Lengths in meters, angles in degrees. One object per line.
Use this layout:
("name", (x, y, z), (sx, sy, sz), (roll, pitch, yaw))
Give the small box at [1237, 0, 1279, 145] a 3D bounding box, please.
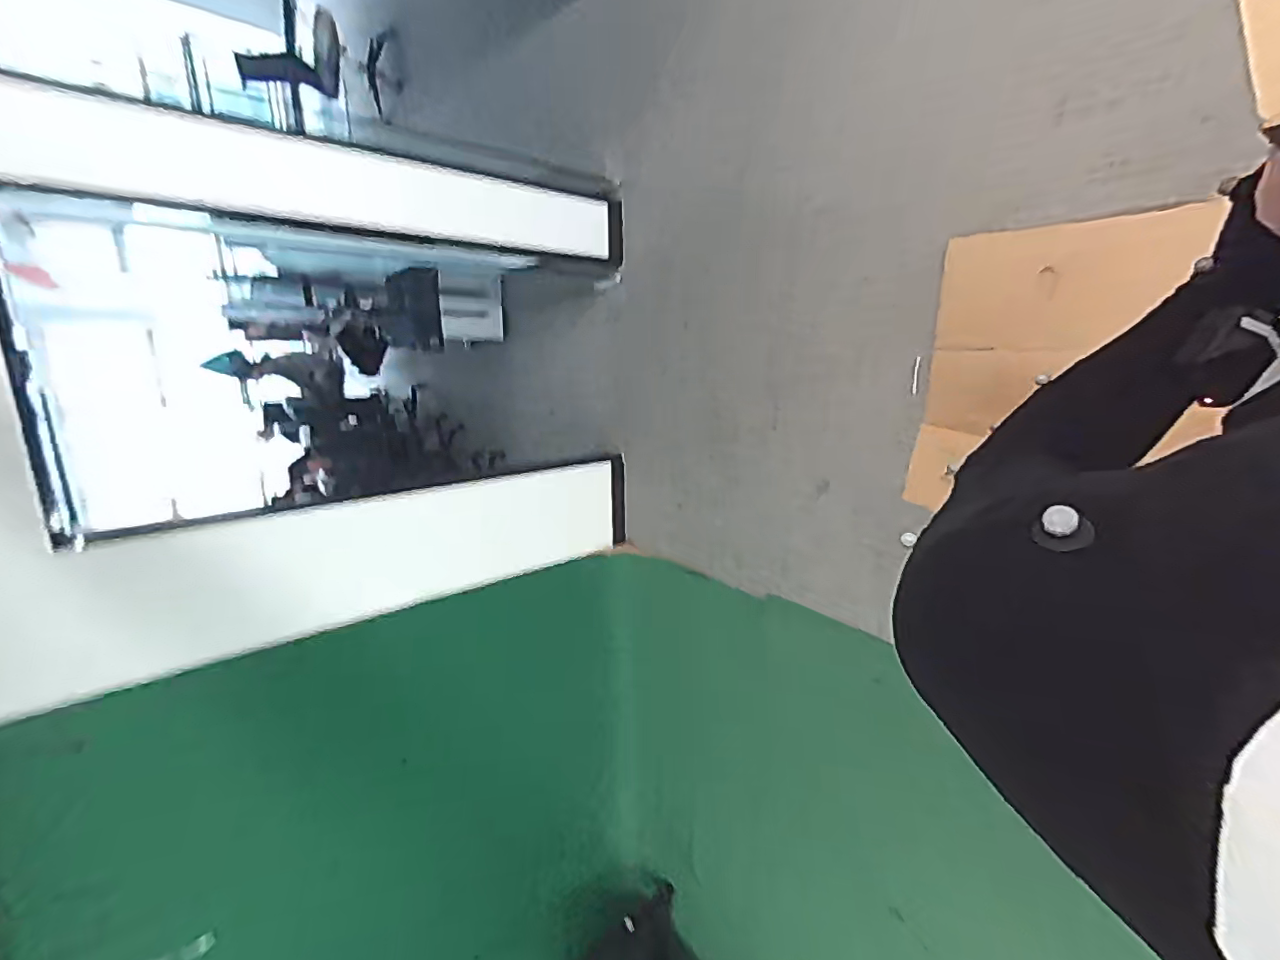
("small box", (0.378, -0.264, 0.217), (0.179, 0.176, 0.168), (-7, 95, 56))
